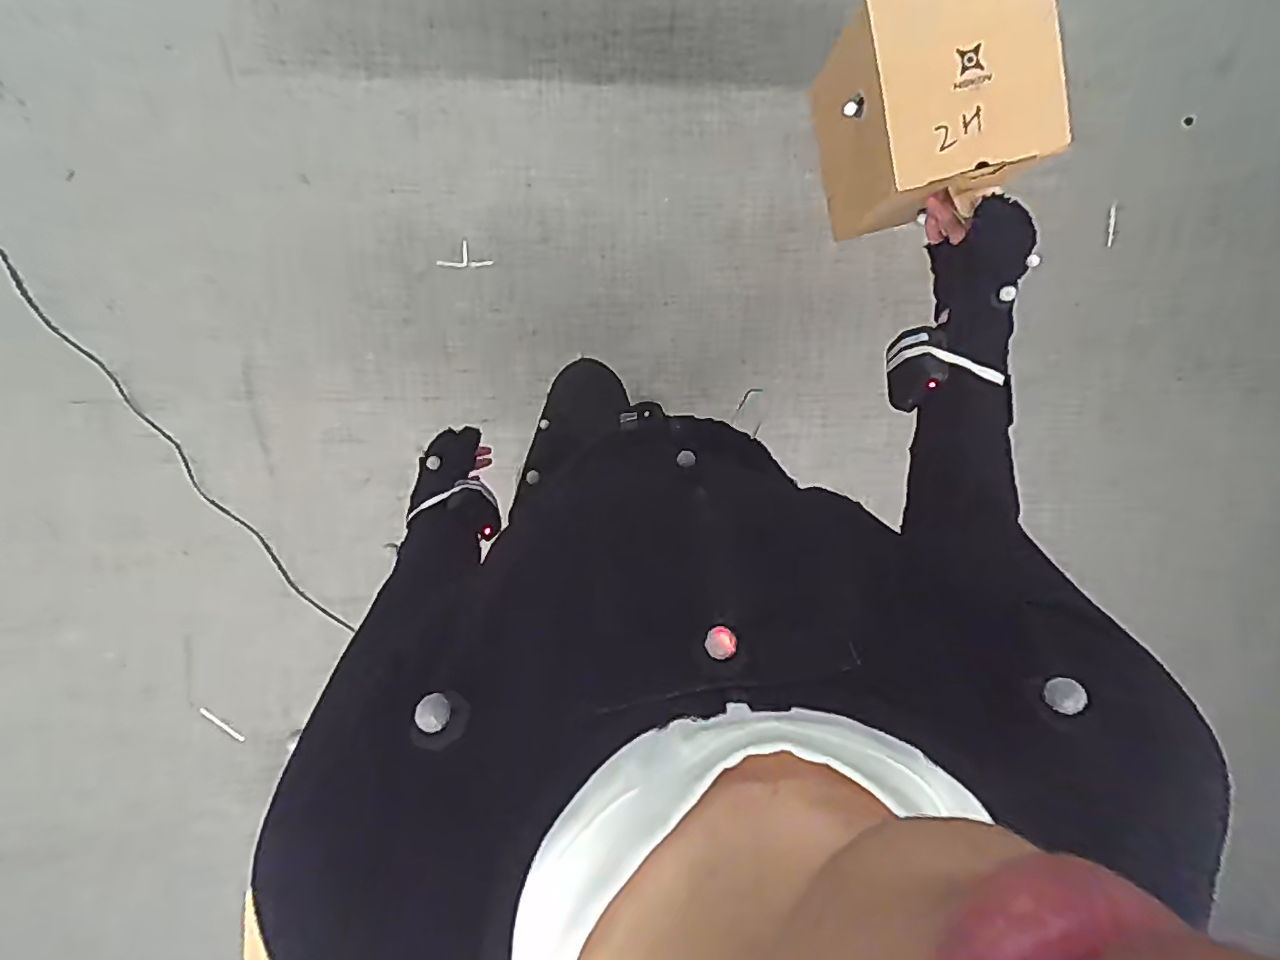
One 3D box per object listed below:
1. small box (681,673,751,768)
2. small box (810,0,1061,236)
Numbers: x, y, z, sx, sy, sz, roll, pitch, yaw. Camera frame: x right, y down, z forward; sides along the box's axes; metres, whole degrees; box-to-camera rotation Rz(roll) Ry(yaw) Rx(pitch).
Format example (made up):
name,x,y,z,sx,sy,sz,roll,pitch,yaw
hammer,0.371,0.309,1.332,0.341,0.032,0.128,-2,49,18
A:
name,x,y,z,sx,sy,sz,roll,pitch,yaw
small box,0.209,0.667,1.511,0.168,0.176,0.179,-4,98,-5
small box,0.295,-0.388,0.574,0.168,0.176,0.179,-13,99,2
